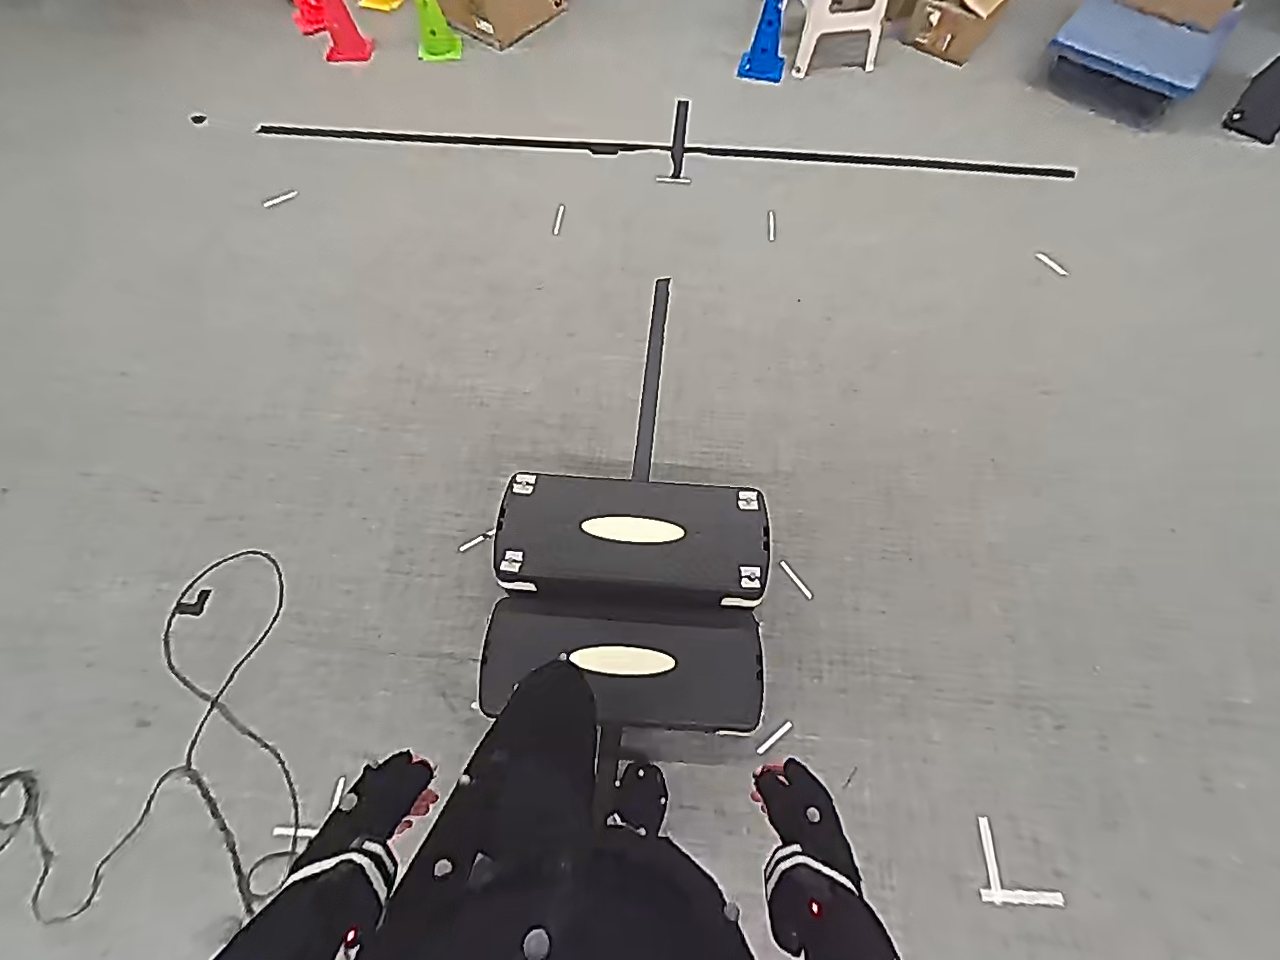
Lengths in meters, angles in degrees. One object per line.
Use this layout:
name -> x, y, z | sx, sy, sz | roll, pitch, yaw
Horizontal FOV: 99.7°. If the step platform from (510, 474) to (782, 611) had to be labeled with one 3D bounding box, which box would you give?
step platform -> 0.015, 0.160, 1.398 | 0.684, 0.204, 0.286 | 4, 64, 0
